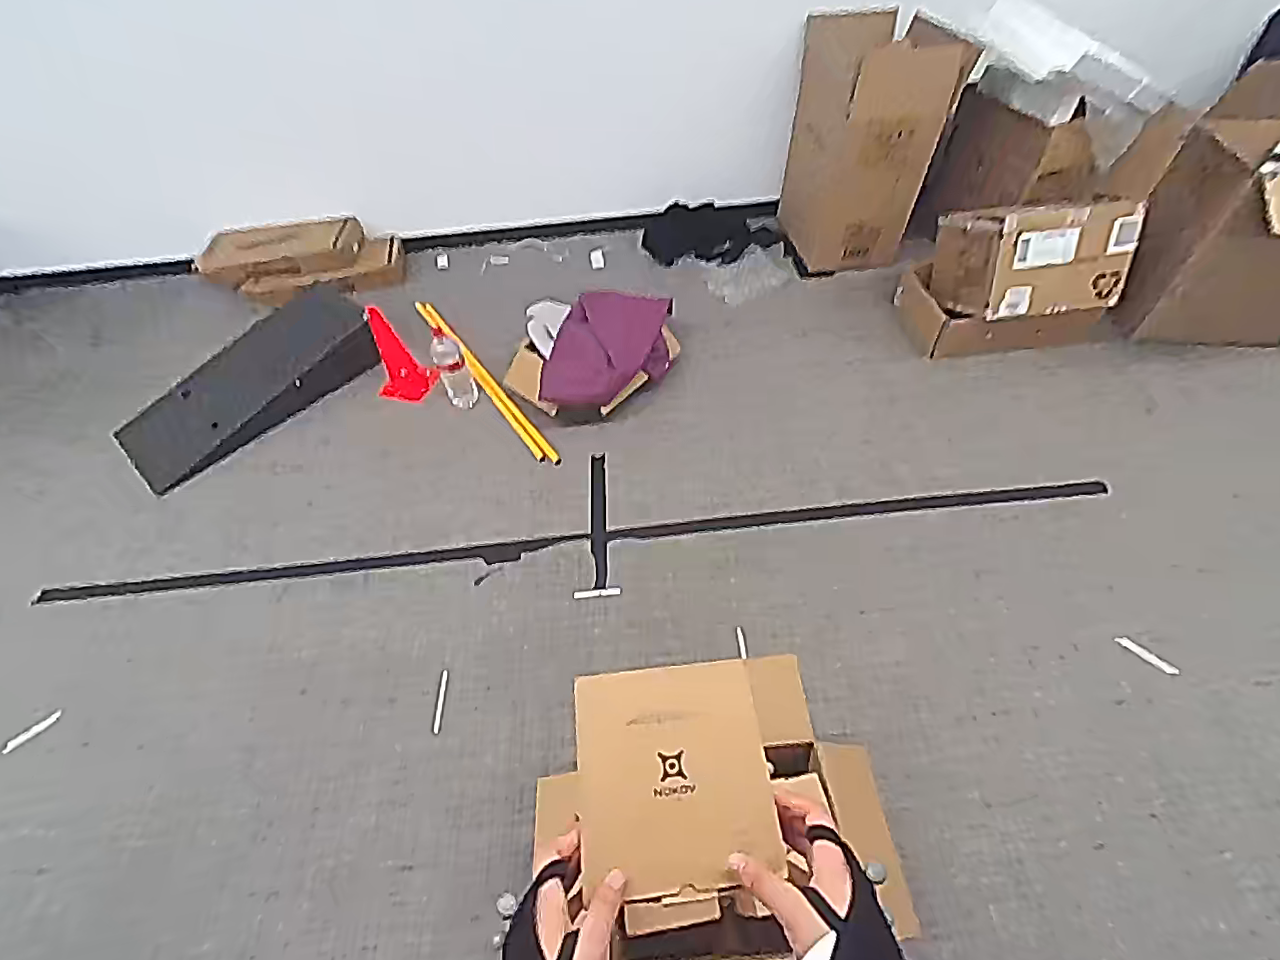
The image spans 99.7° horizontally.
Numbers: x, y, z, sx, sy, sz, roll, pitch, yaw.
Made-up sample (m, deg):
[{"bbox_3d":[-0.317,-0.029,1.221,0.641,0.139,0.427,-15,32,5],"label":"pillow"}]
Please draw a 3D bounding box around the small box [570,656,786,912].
[{"bbox_3d":[0.025,0.288,0.525,0.168,0.176,0.179,-5,57,-5],"label":"small box"}]

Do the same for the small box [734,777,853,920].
[{"bbox_3d":[0.243,0.648,0.953,0.168,0.176,0.179,-8,52,-6],"label":"small box"}]
